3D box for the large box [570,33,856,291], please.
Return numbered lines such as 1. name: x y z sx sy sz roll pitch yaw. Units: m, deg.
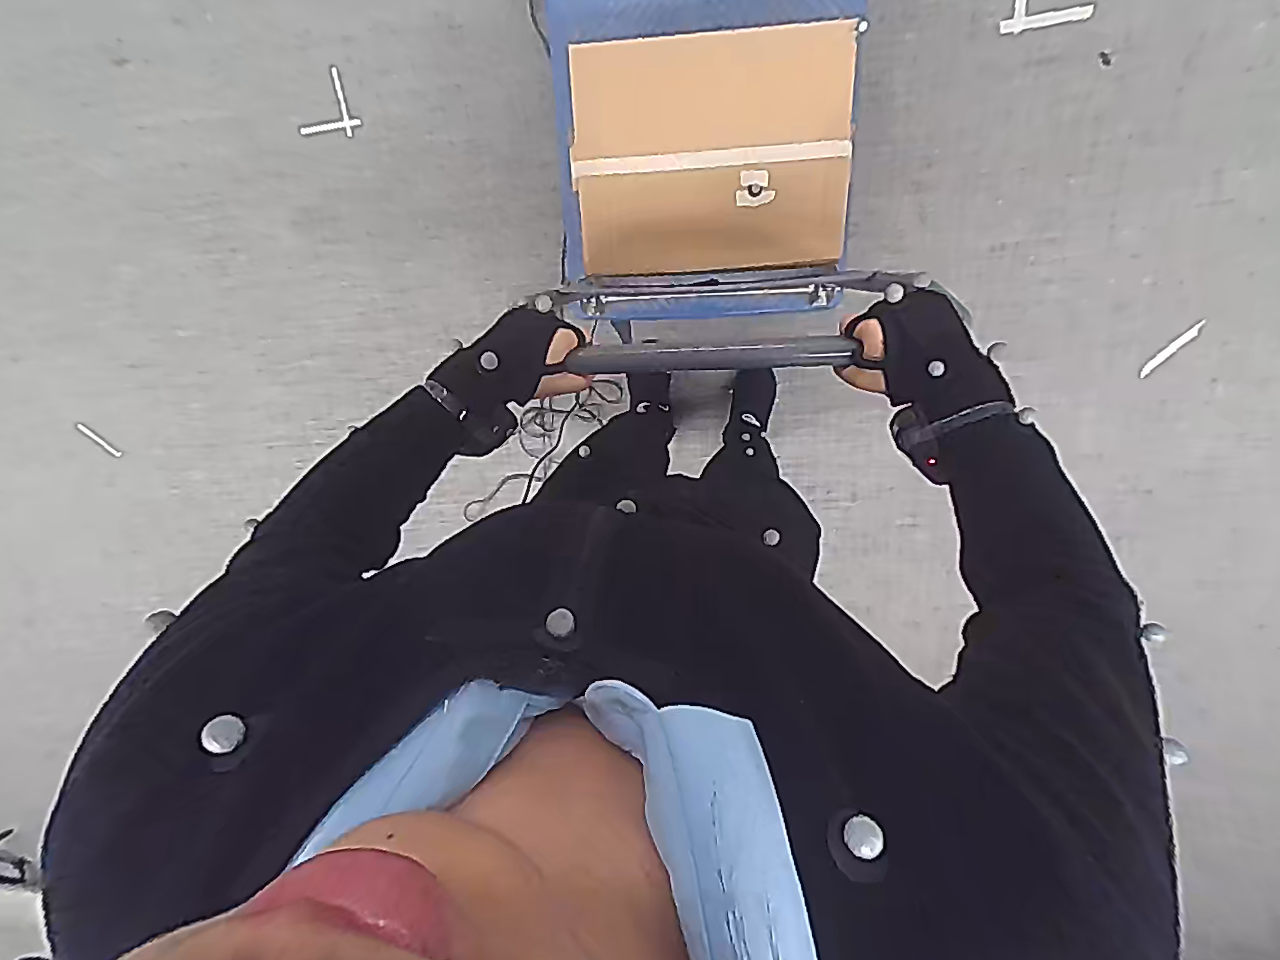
1. large box: 0.114 -0.504 0.939 0.408 0.320 0.320 -1 110 5
